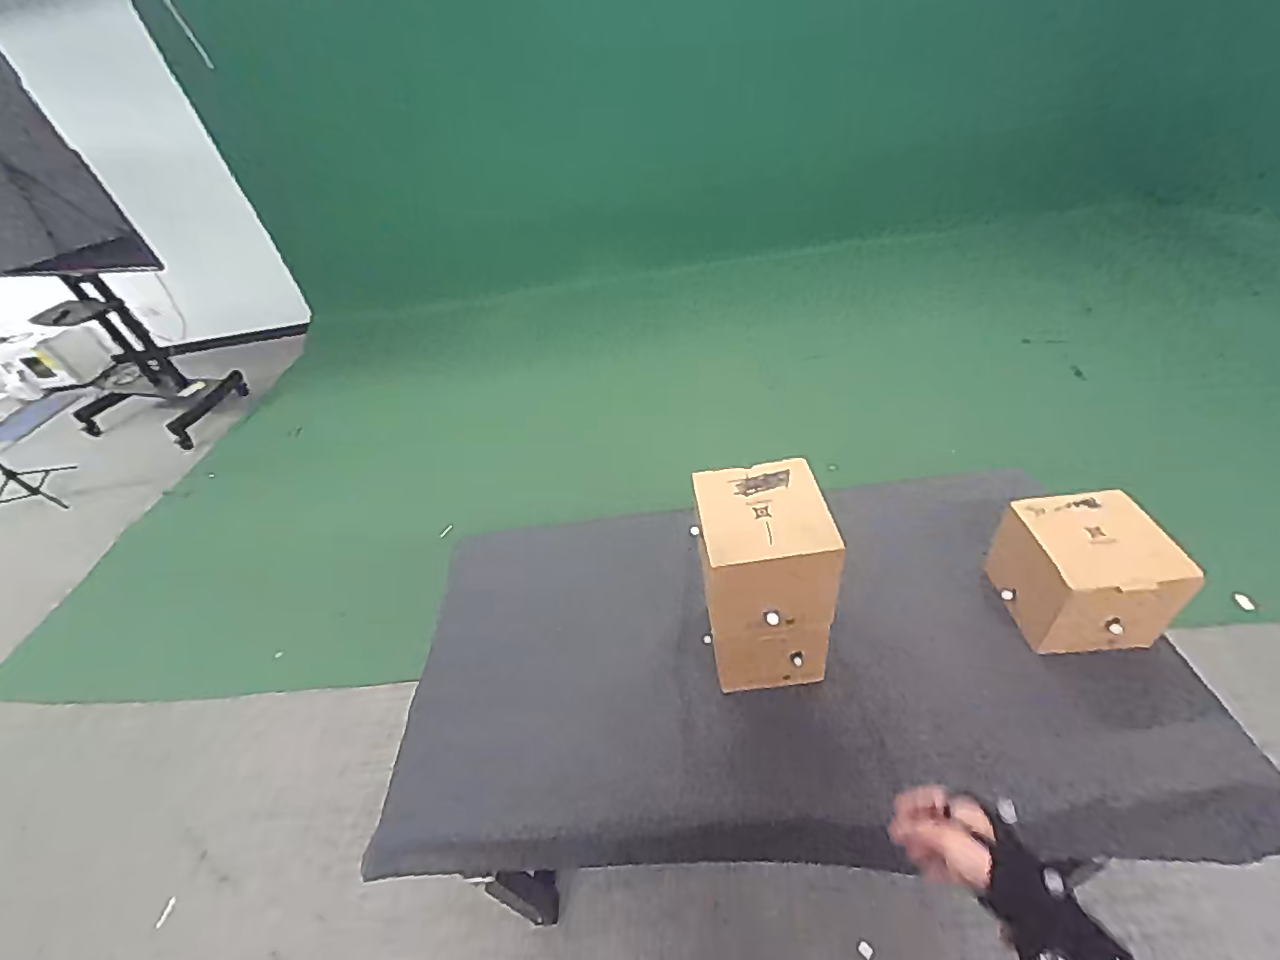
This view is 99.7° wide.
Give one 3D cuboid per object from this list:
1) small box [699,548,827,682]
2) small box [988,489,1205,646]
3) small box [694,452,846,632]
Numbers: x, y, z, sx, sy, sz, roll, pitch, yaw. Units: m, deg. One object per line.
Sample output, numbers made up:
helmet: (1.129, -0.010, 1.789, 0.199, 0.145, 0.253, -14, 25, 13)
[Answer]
small box: (0.191, 0.207, 0.868, 0.168, 0.176, 0.179, -7, 40, 3)
small box: (0.671, 0.140, 0.825, 0.168, 0.176, 0.179, -6, 42, 7)
small box: (0.169, 0.087, 0.757, 0.168, 0.176, 0.179, -8, 43, 3)
